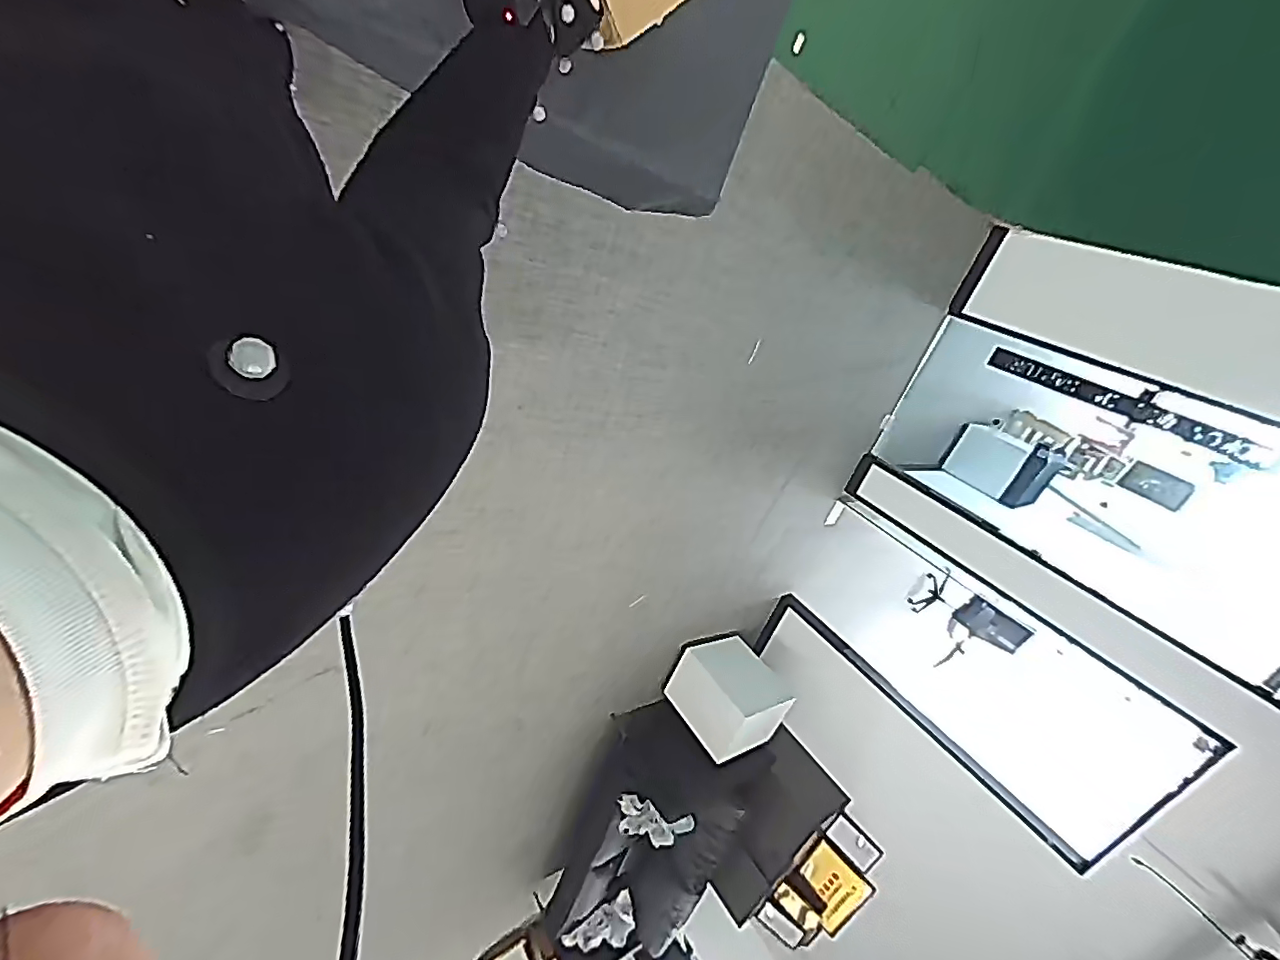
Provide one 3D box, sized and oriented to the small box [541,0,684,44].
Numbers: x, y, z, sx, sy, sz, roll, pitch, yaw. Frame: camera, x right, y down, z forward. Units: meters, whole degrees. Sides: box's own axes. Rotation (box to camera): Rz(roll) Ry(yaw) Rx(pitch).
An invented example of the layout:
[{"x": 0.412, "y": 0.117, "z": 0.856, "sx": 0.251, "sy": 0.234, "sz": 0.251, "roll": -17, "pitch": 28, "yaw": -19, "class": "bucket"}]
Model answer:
[{"x": -0.030, "y": -0.620, "z": 0.596, "sx": 0.179, "sy": 0.176, "sz": 0.168, "roll": -42, "pitch": 140, "yaw": -6, "class": "small box"}]
